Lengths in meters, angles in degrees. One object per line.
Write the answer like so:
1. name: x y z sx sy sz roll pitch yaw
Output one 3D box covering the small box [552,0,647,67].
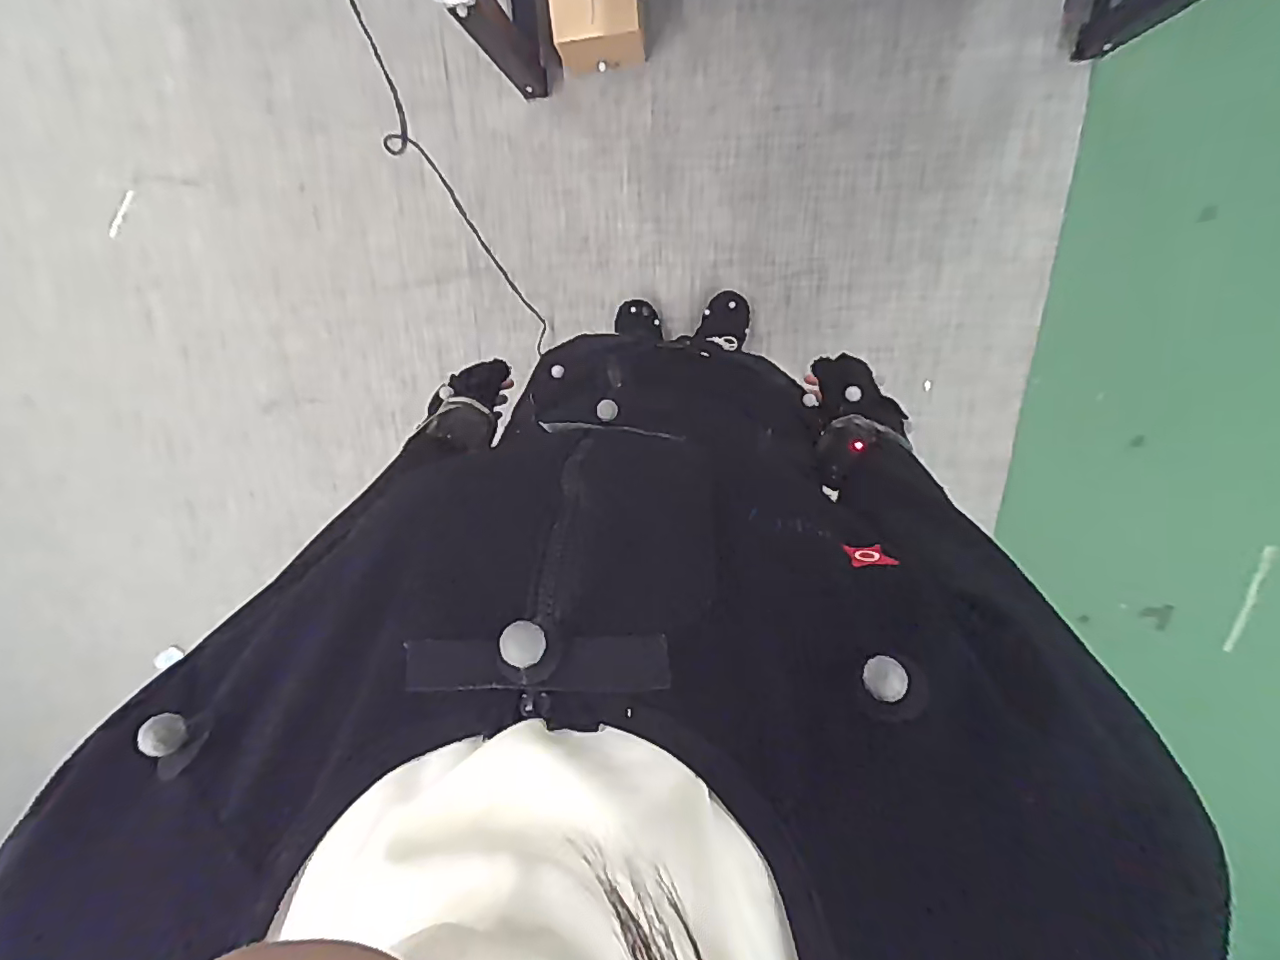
1. small box: -0.078 -0.945 1.051 0.168 0.176 0.179 -3 110 7
